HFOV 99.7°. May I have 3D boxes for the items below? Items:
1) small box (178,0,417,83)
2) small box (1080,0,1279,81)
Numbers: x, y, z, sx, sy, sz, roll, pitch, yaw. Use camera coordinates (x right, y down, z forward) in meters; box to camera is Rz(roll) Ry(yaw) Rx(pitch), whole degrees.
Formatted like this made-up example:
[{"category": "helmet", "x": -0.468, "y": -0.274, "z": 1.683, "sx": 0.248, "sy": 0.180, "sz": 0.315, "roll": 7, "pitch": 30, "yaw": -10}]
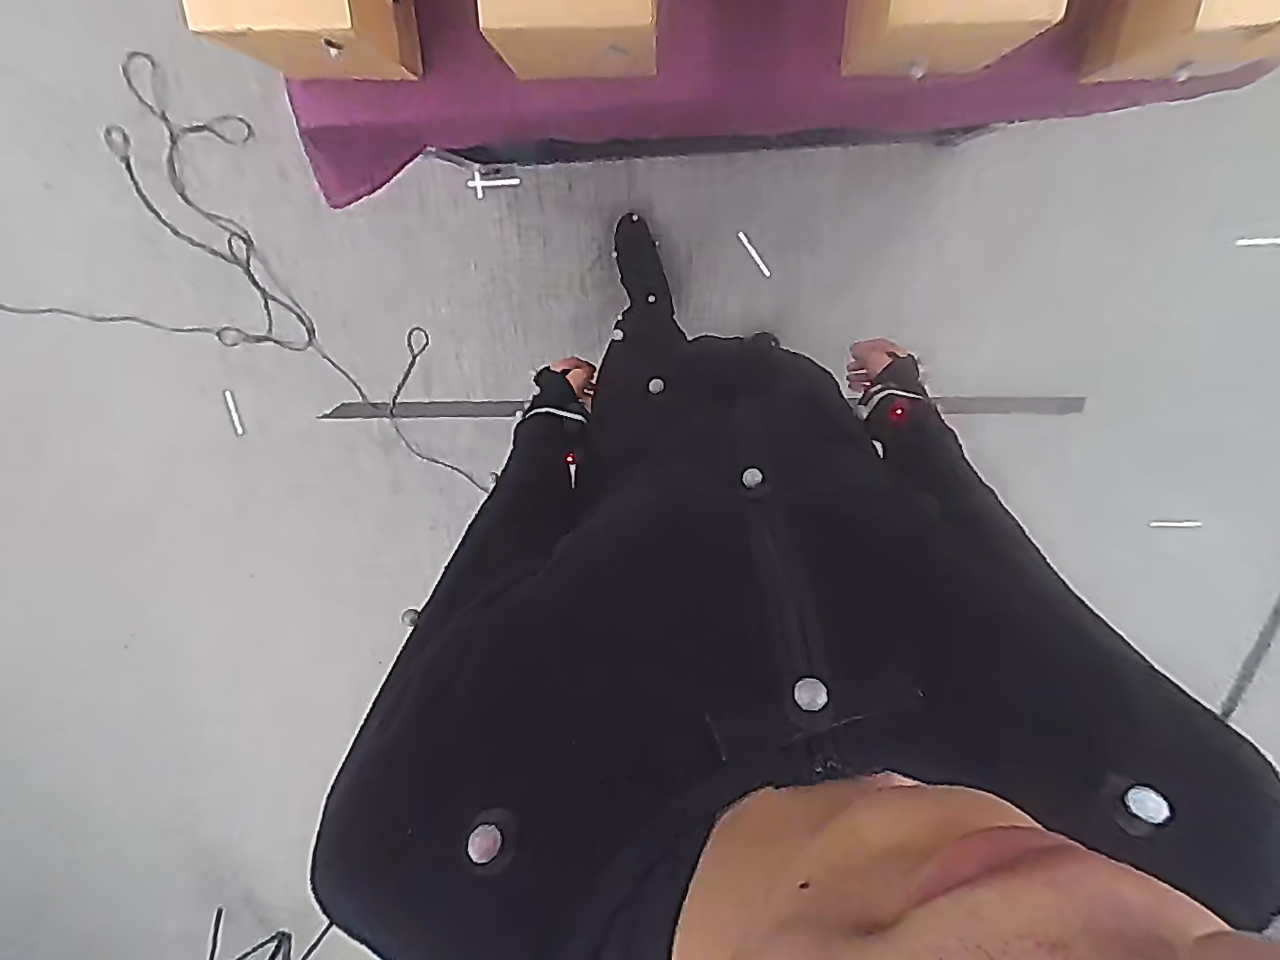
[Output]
[{"category": "small box", "x": -0.374, "y": -0.558, "z": 0.595, "sx": 0.179, "sy": 0.176, "sz": 0.168, "roll": 1, "pitch": 113, "yaw": 1}, {"category": "small box", "x": 0.598, "y": -0.536, "z": 0.545, "sx": 0.168, "sy": 0.176, "sz": 0.179, "roll": 0, "pitch": 113, "yaw": 5}]
